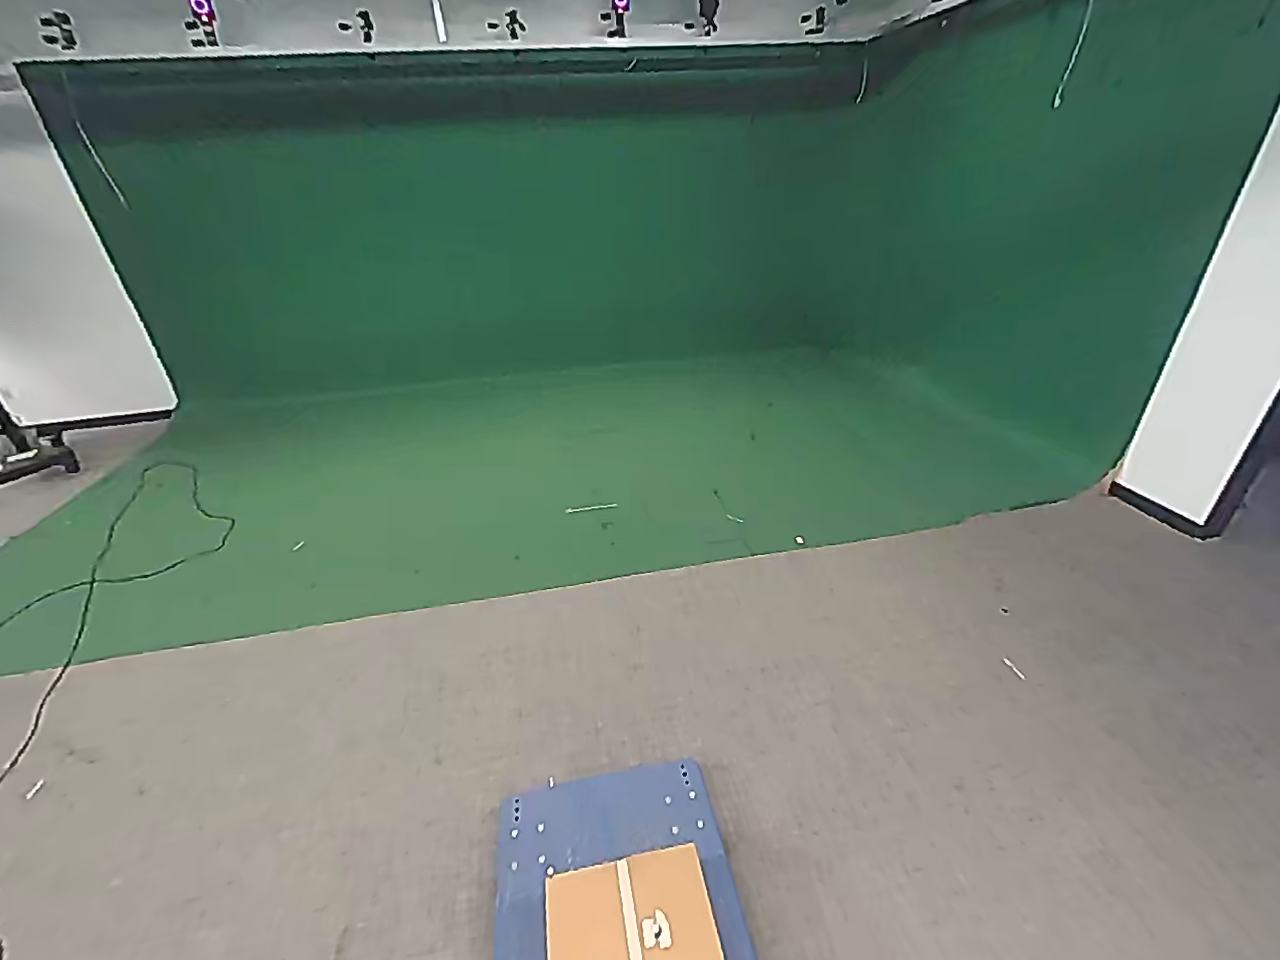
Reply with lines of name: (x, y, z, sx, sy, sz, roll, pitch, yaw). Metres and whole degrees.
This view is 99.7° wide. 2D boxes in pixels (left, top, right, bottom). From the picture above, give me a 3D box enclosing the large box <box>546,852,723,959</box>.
large box: (0.010, 1.016, 1.001, 0.320, 0.320, 0.408, -7, 28, -9)
